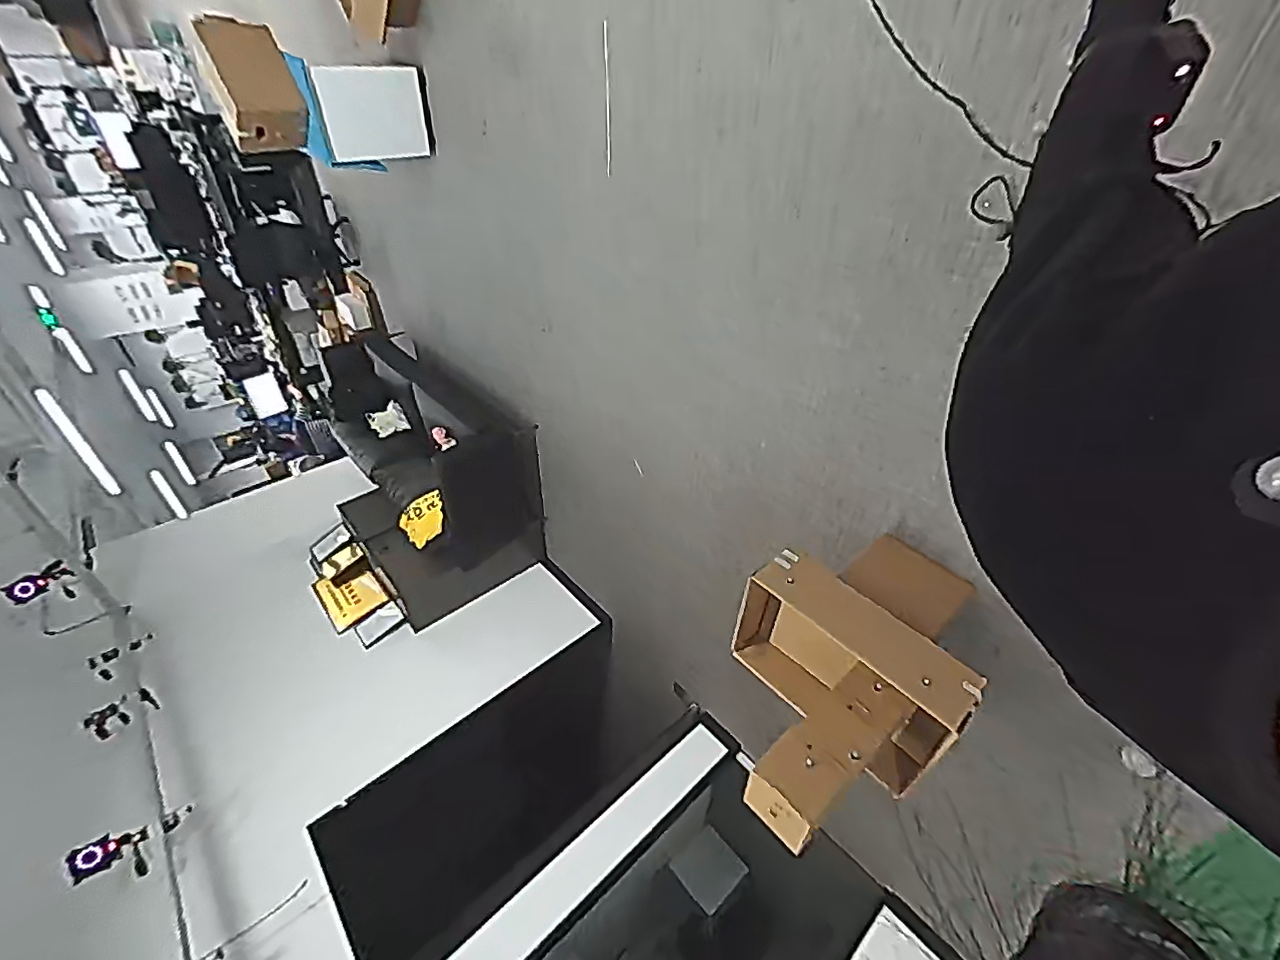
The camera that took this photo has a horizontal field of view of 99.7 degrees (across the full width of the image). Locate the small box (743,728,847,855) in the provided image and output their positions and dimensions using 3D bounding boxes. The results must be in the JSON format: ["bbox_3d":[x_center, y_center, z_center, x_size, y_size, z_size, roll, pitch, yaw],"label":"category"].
[{"bbox_3d":[0.376,0.750,1.313,0.168,0.176,0.179,35,138,36],"label":"small box"}]
